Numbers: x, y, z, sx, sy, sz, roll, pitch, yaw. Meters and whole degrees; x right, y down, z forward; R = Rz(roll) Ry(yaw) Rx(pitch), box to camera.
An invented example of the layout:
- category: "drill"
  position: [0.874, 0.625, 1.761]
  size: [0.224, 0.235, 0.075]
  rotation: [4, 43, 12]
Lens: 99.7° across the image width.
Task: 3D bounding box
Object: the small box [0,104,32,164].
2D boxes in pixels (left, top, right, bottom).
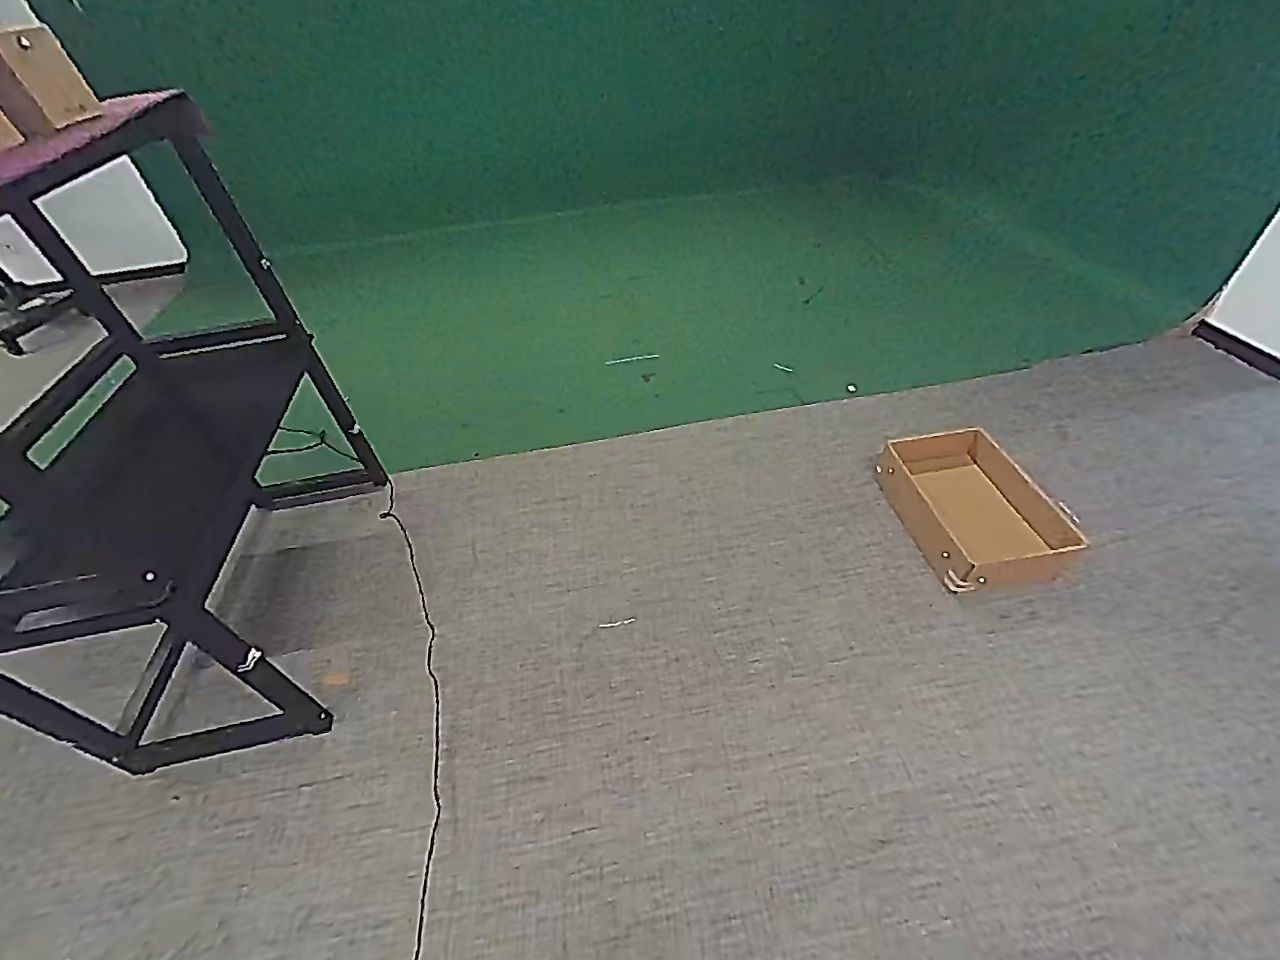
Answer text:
- category: "small box"
  position: [-1.320, -0.666, 0.993]
  size: [0.179, 0.176, 0.168]
  rotation: [-9, 45, -2]

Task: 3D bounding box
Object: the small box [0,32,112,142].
- category: "small box"
  position: [-1.366, -0.868, 1.203]
  size: [0.179, 0.176, 0.168]
  rotation: [-6, 46, 3]
